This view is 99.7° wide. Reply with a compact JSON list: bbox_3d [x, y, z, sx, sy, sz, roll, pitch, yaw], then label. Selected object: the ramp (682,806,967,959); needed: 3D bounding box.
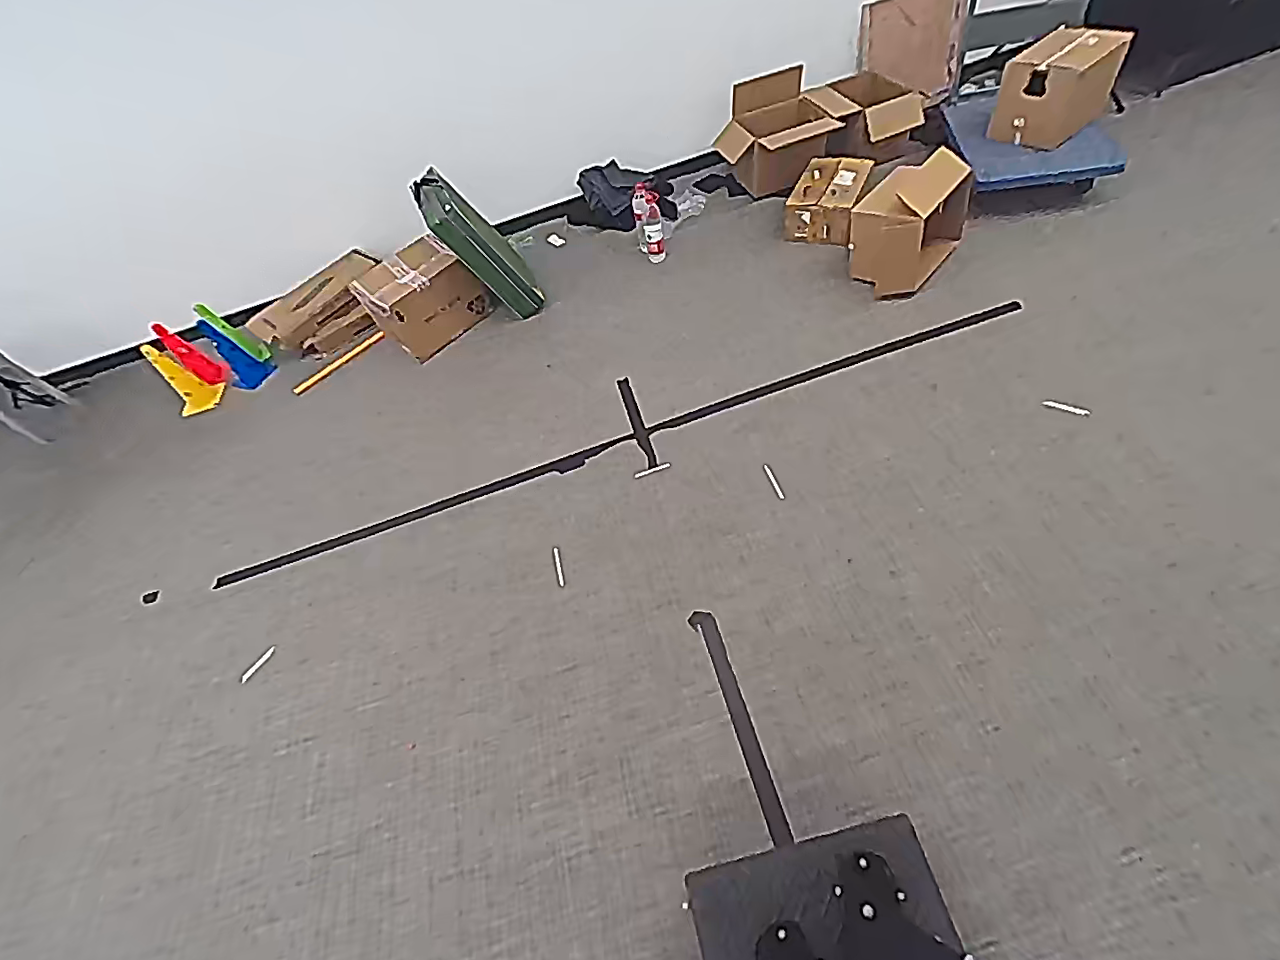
[{"bbox_3d":[0.445,1.176,0.916,0.509,0.206,0.991,-18,53,-1],"label":"ramp"}]
